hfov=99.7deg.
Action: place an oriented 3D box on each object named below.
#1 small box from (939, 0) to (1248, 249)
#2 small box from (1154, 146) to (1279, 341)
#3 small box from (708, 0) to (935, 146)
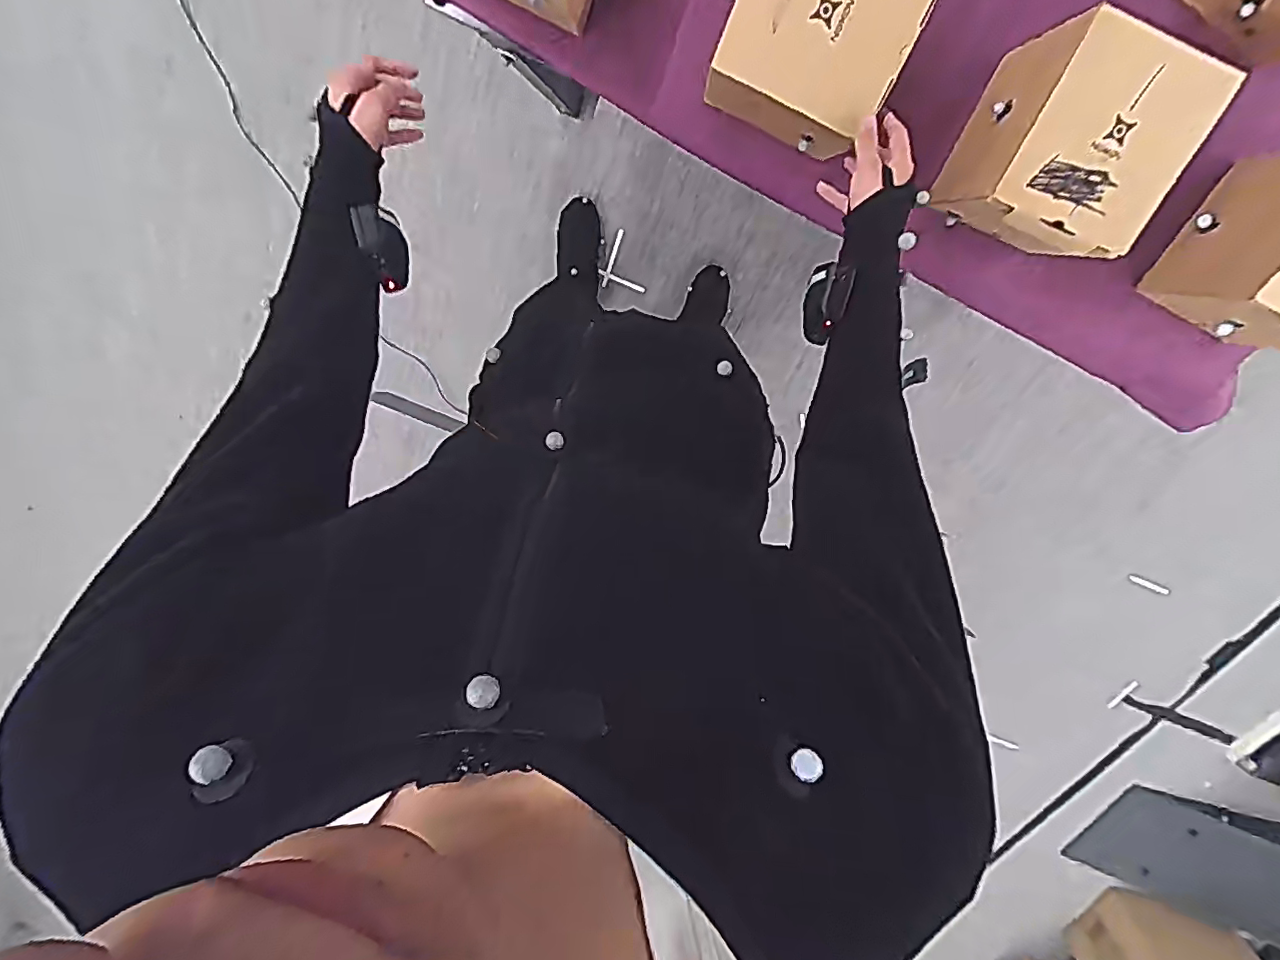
[{"bbox_3d":[0.475,-0.380,0.610,0.168,0.176,0.179,21,114,-6],"label":"small box"},{"bbox_3d":[0.778,-0.272,0.637,0.168,0.176,0.179,25,113,-7],"label":"small box"},{"bbox_3d":[0.187,-0.485,0.580,0.179,0.176,0.168,22,114,-6],"label":"small box"}]
